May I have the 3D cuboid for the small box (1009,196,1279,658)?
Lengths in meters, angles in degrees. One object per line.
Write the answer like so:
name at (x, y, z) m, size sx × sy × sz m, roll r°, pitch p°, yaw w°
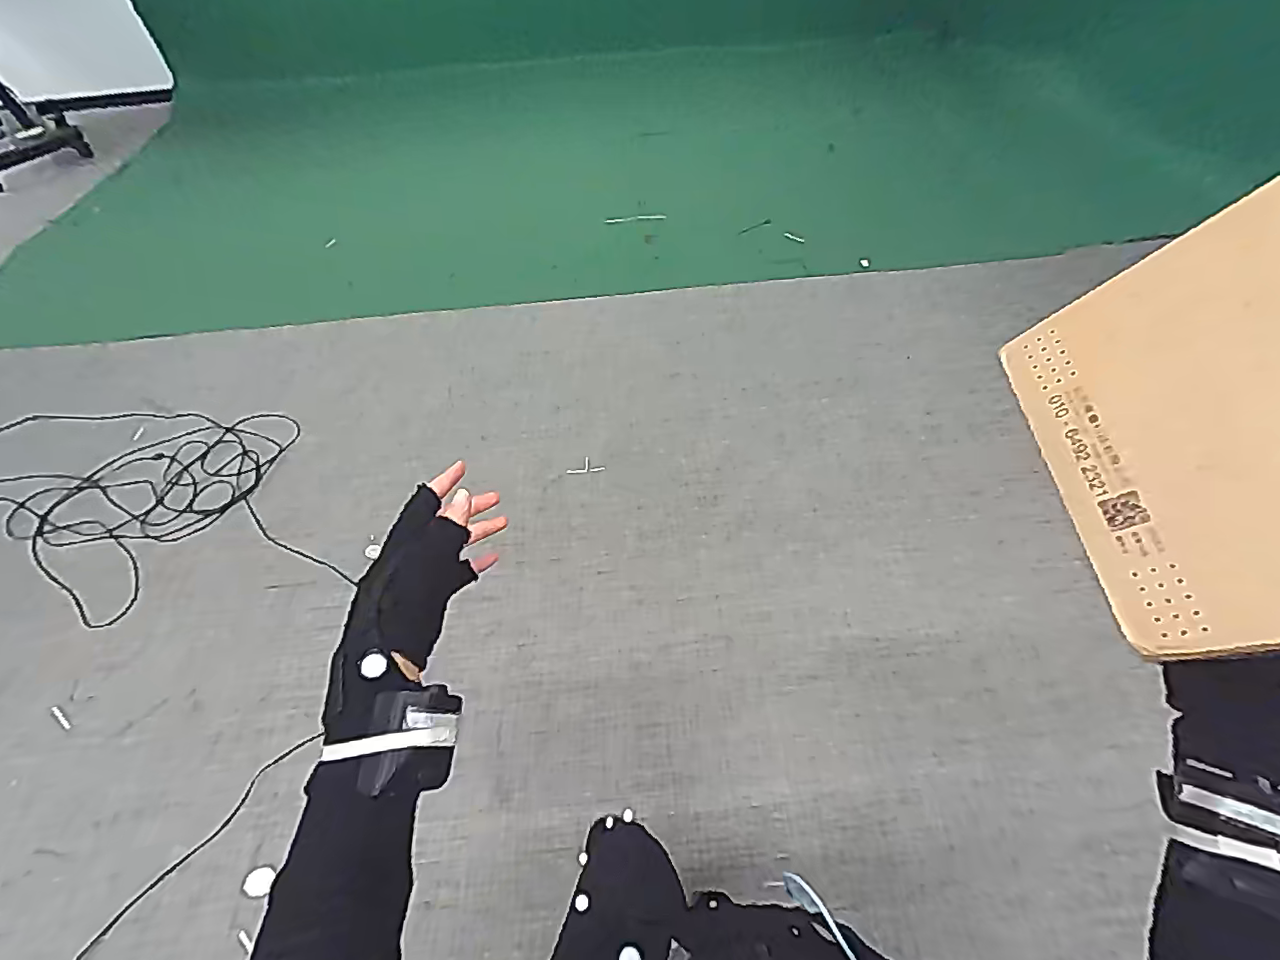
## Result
small box at (0.310, -0.021, 0.233) m, size 0.179 × 0.176 × 0.168 m, roll 8°, pitch 62°, yaw -27°
